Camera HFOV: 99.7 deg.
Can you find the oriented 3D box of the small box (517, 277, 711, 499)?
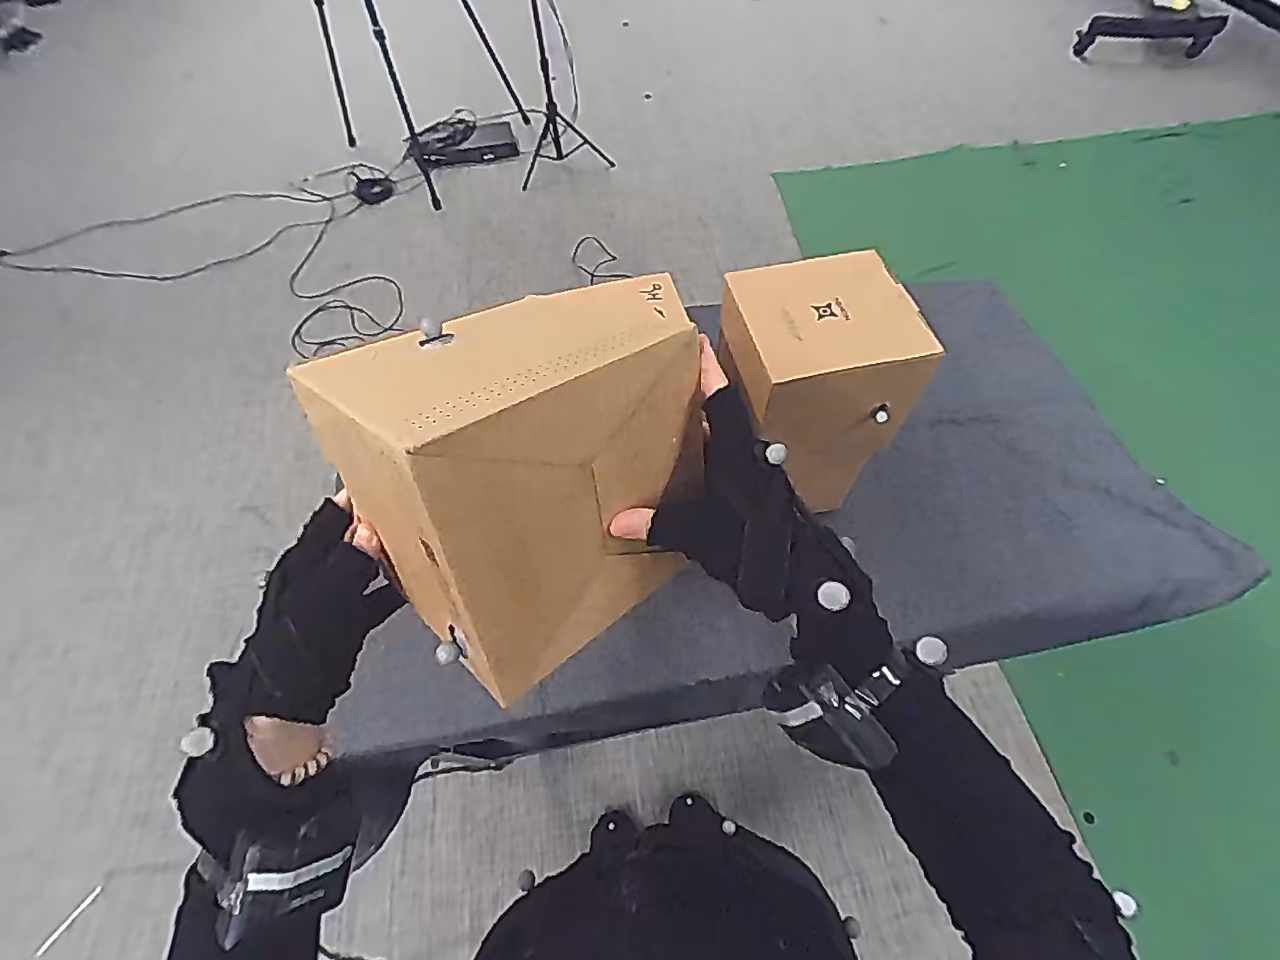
[{"bbox_3d":[-0.026,-0.097,0.621,0.179,0.176,0.168,-14,60,-4],"label":"small box"}]
